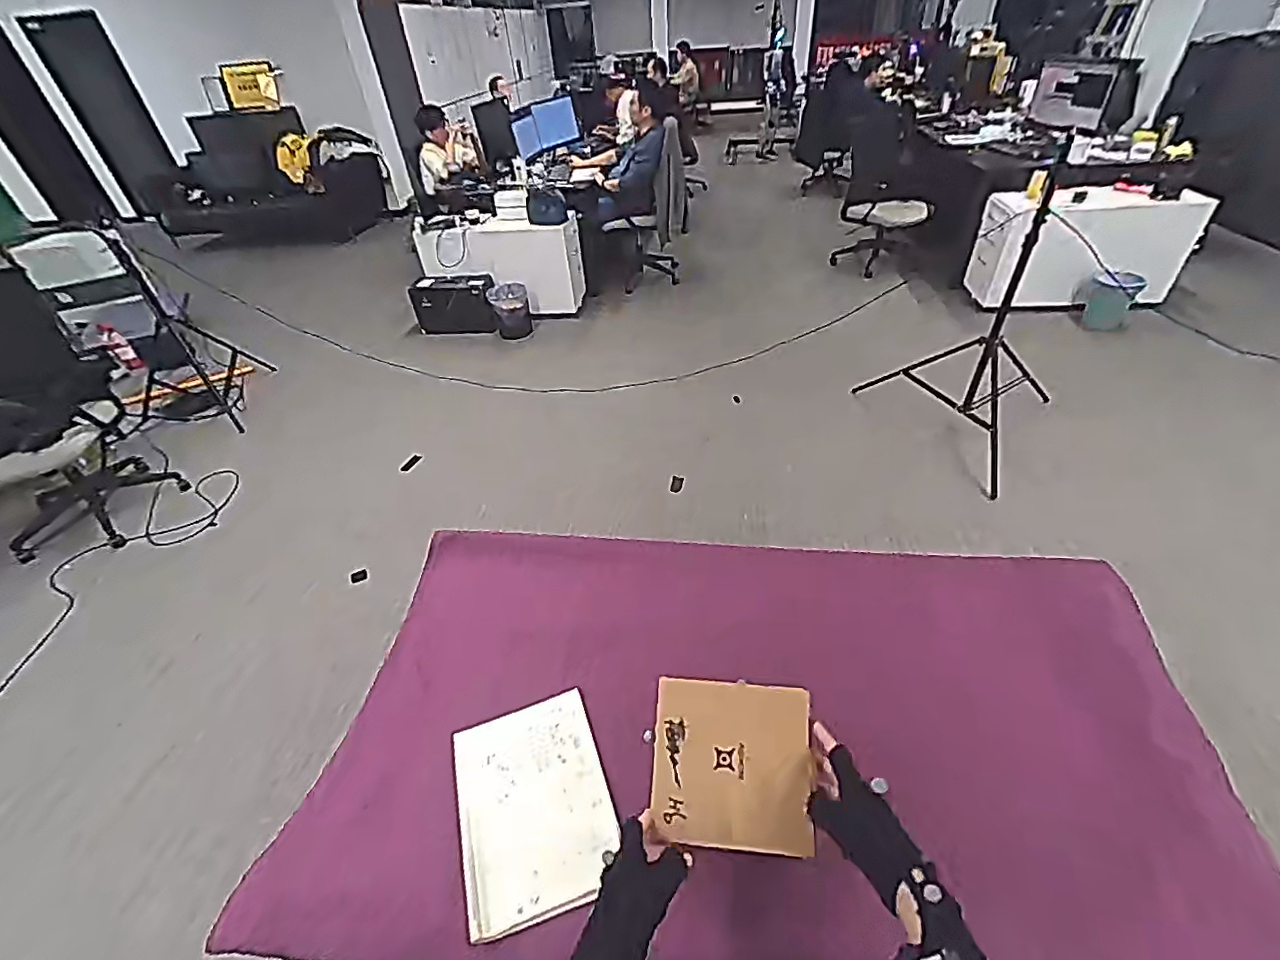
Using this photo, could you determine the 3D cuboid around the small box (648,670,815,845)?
[{"bbox_3d":[0.105,0.341,0.671,0.179,0.176,0.168,1,60,5],"label":"small box"}]
